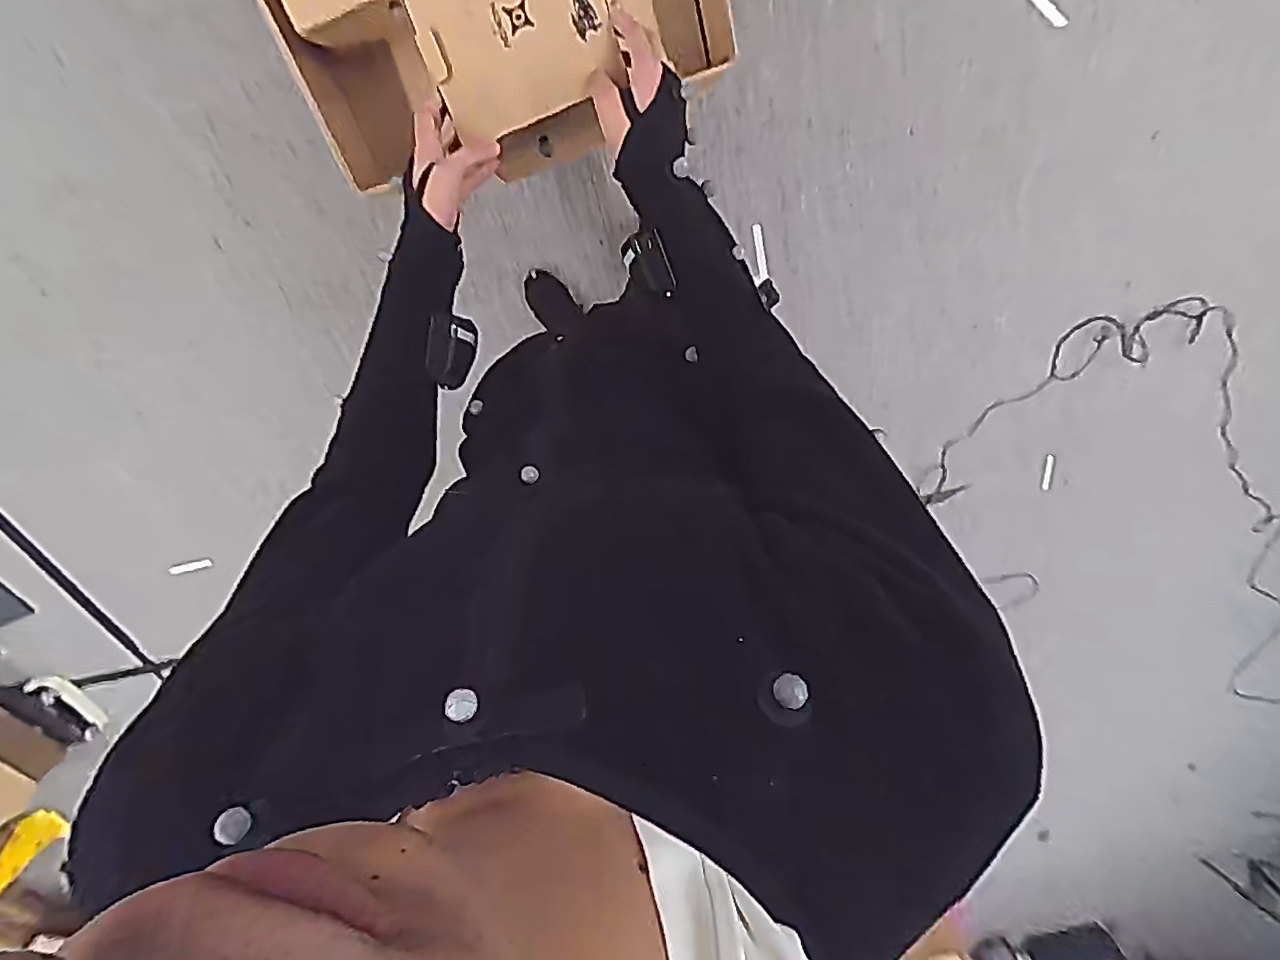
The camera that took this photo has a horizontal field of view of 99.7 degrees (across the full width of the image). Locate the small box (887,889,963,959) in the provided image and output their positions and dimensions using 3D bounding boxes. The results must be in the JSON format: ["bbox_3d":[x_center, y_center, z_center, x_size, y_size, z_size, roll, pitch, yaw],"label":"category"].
[{"bbox_3d":[0.932,1.479,1.780,0.168,0.176,0.179,-14,123,5],"label":"small box"}]

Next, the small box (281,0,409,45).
[{"bbox_3d":[-0.404,-0.730,0.731,0.179,0.176,0.168,-17,119,7],"label":"small box"}]

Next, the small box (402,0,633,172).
[{"bbox_3d":[-0.116,-0.448,0.563,0.179,0.176,0.168,-18,108,9],"label":"small box"}]
